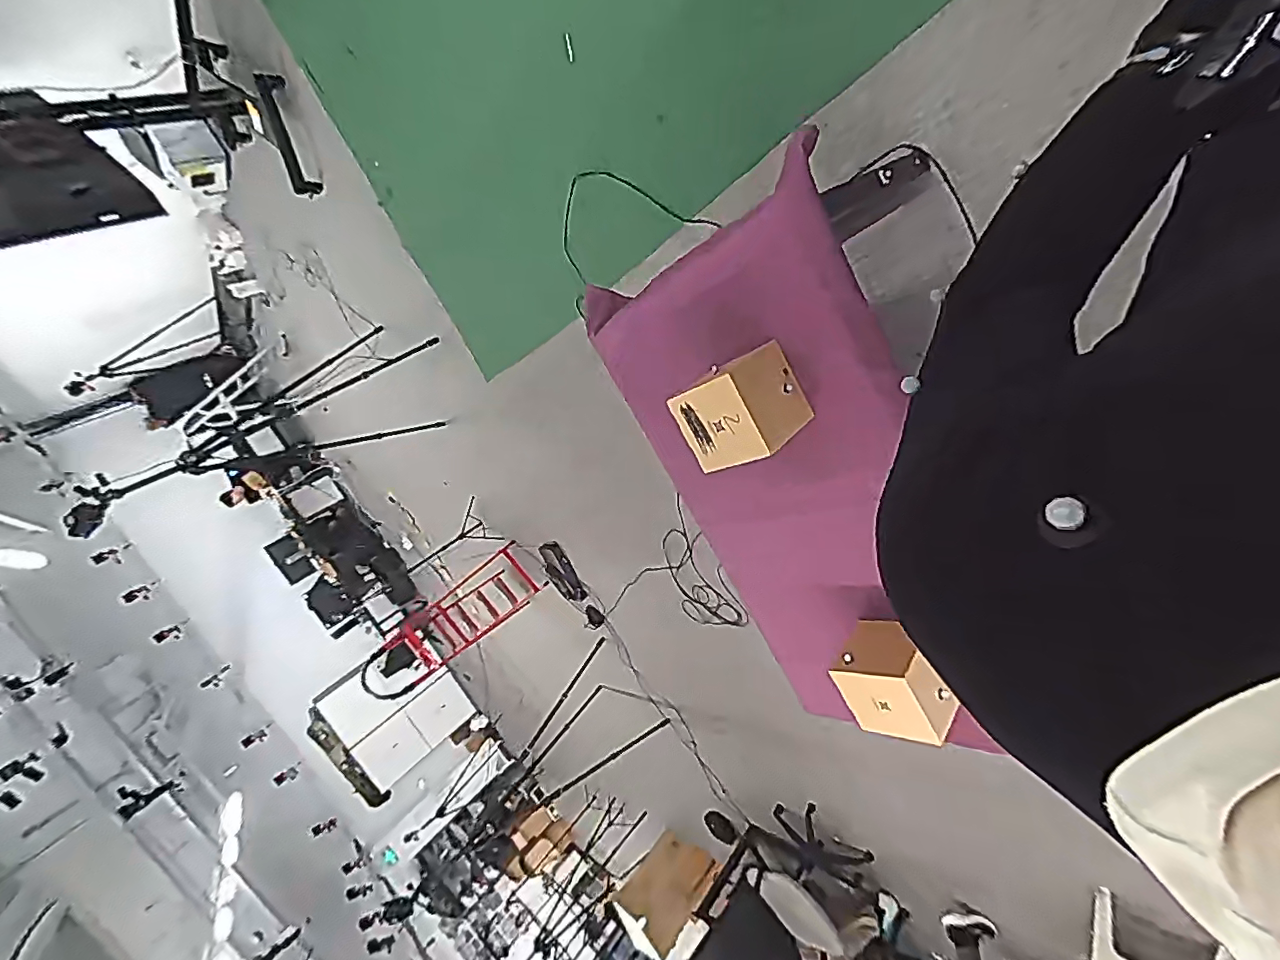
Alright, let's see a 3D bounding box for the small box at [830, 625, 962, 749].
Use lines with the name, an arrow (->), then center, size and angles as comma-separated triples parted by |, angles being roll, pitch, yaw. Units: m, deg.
small box -> 0.535, 0.416, 1.117 | 0.179, 0.176, 0.168 | -20, 104, 54
